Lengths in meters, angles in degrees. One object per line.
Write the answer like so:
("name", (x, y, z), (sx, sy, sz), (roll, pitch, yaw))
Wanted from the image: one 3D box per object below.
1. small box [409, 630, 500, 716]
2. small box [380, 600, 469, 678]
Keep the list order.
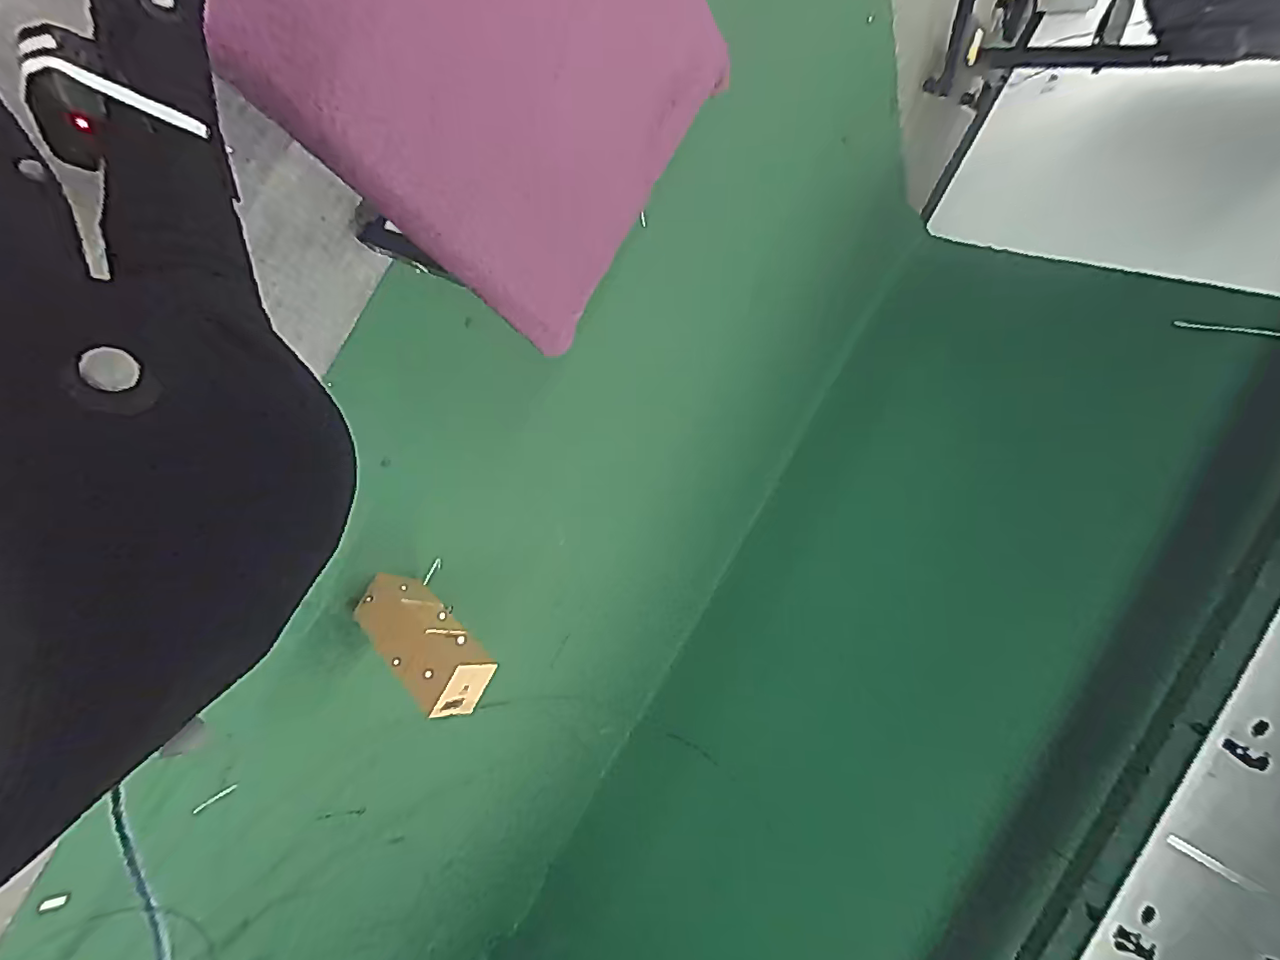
("small box", (-0.565, 0.580, 1.629), (0.179, 0.176, 0.168), (-57, 148, -1))
("small box", (-0.686, 0.500, 1.712), (0.179, 0.176, 0.168), (-59, 146, 0))
